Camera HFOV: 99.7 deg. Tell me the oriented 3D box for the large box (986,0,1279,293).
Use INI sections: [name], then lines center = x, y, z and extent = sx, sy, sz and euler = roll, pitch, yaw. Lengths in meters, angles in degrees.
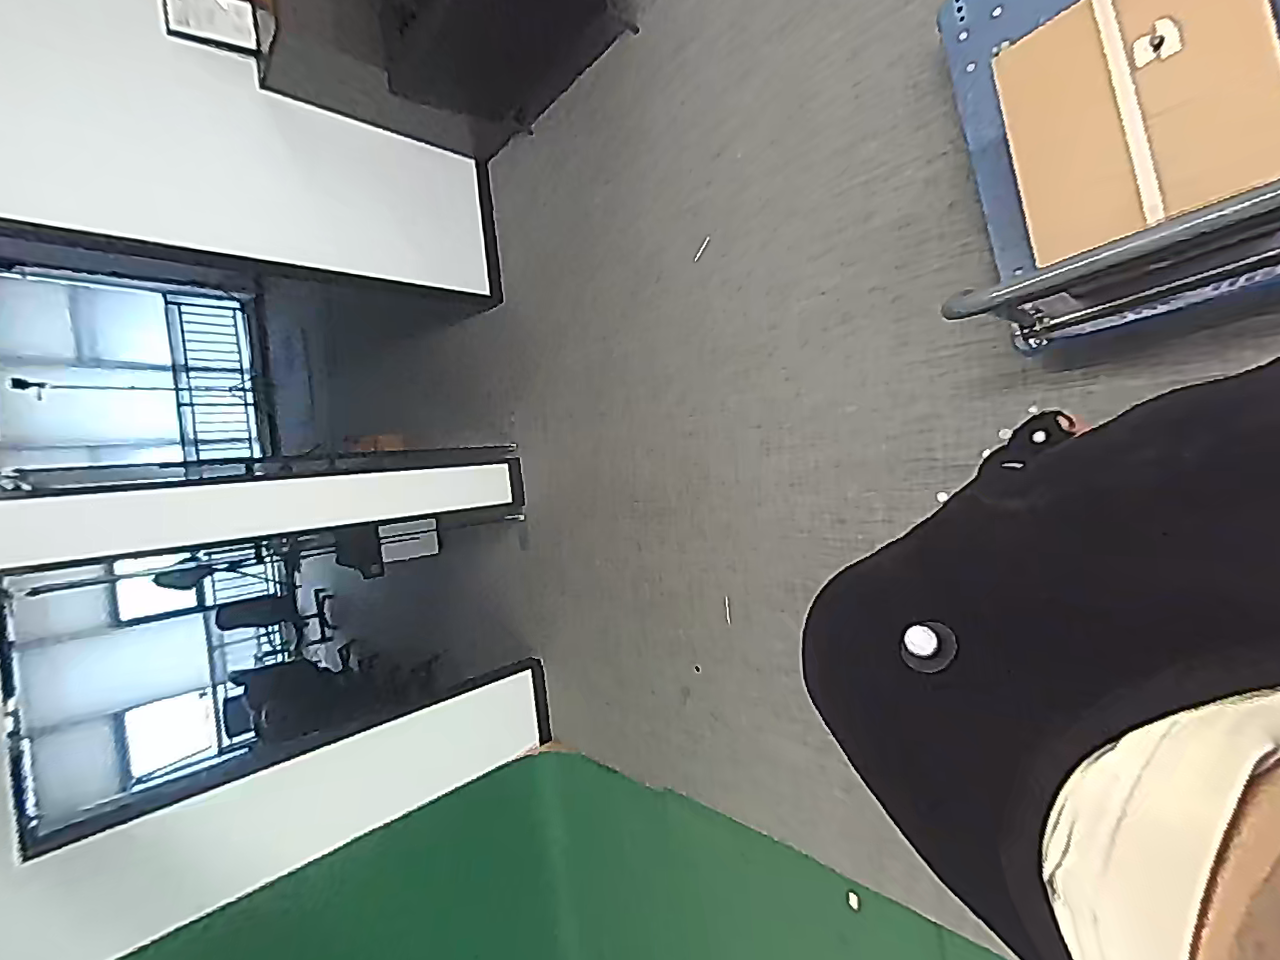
[large box]
center = 0.879, -0.606, 0.964
extent = 0.320, 0.320, 0.408
euler = -14, 83, 46
